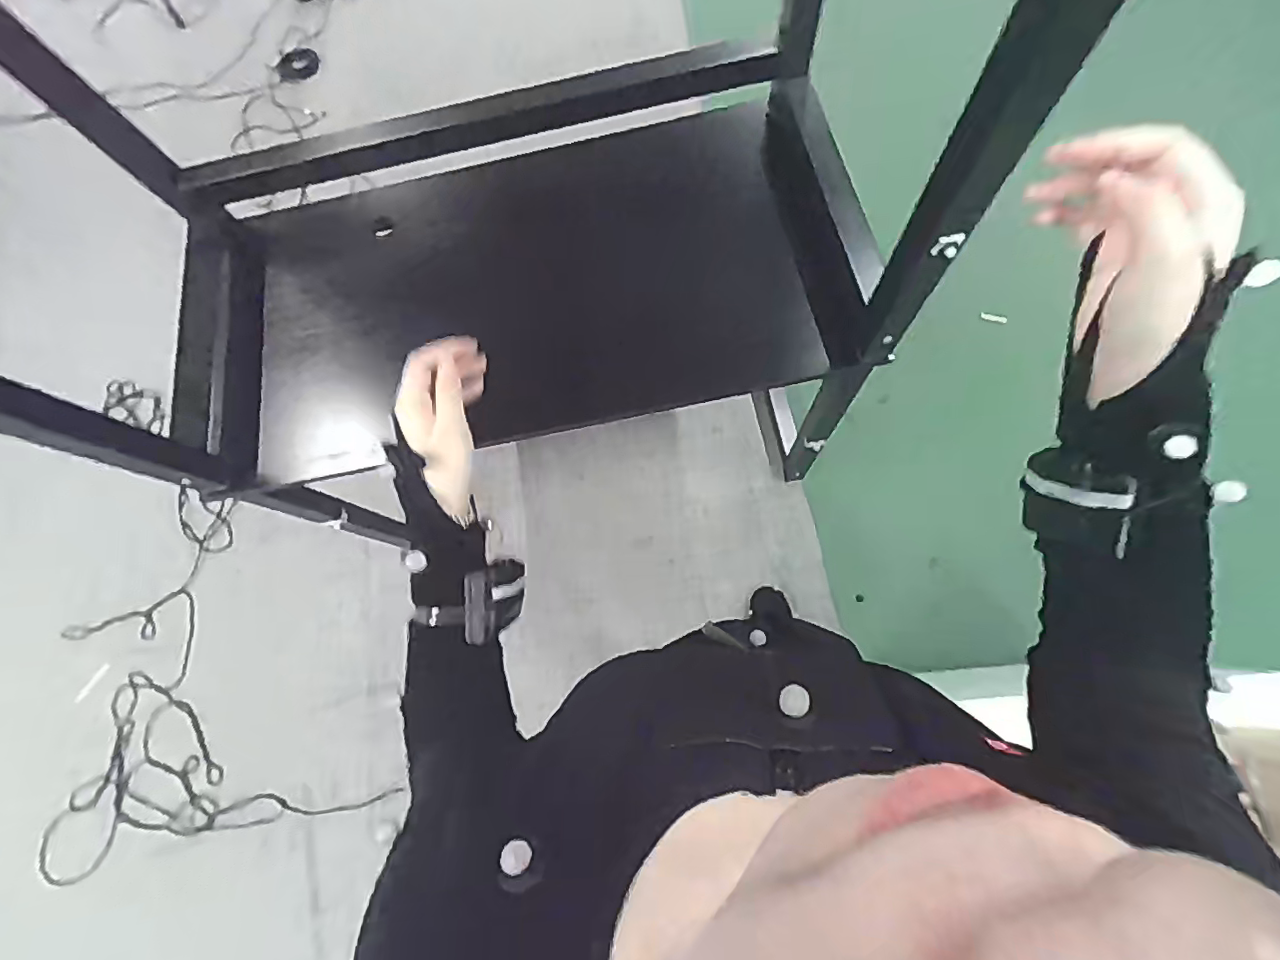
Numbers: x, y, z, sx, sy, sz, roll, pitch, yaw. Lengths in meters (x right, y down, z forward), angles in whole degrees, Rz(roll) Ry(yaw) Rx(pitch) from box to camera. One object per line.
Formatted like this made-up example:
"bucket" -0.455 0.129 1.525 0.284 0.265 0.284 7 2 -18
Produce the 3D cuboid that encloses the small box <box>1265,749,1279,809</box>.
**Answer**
"small box" 0.805 0.373 0.535 0.168 0.176 0.179 -4 75 5
